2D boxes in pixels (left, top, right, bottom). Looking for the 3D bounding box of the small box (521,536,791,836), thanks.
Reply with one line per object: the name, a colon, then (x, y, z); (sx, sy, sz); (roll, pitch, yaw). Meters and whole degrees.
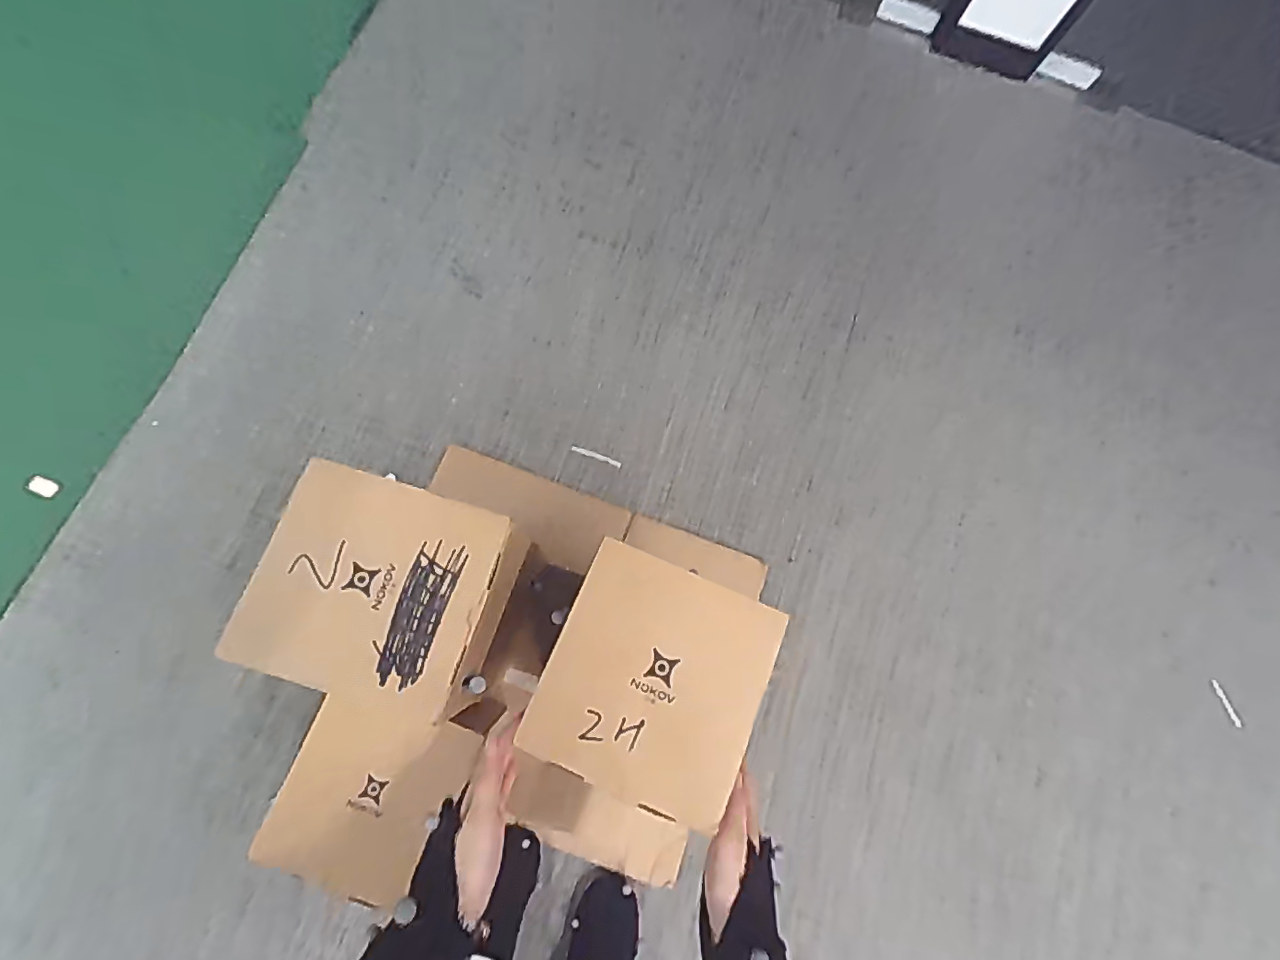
small box: (0.011, 0.174, 0.497); (0.168, 0.176, 0.179); (23, 74, 4)
